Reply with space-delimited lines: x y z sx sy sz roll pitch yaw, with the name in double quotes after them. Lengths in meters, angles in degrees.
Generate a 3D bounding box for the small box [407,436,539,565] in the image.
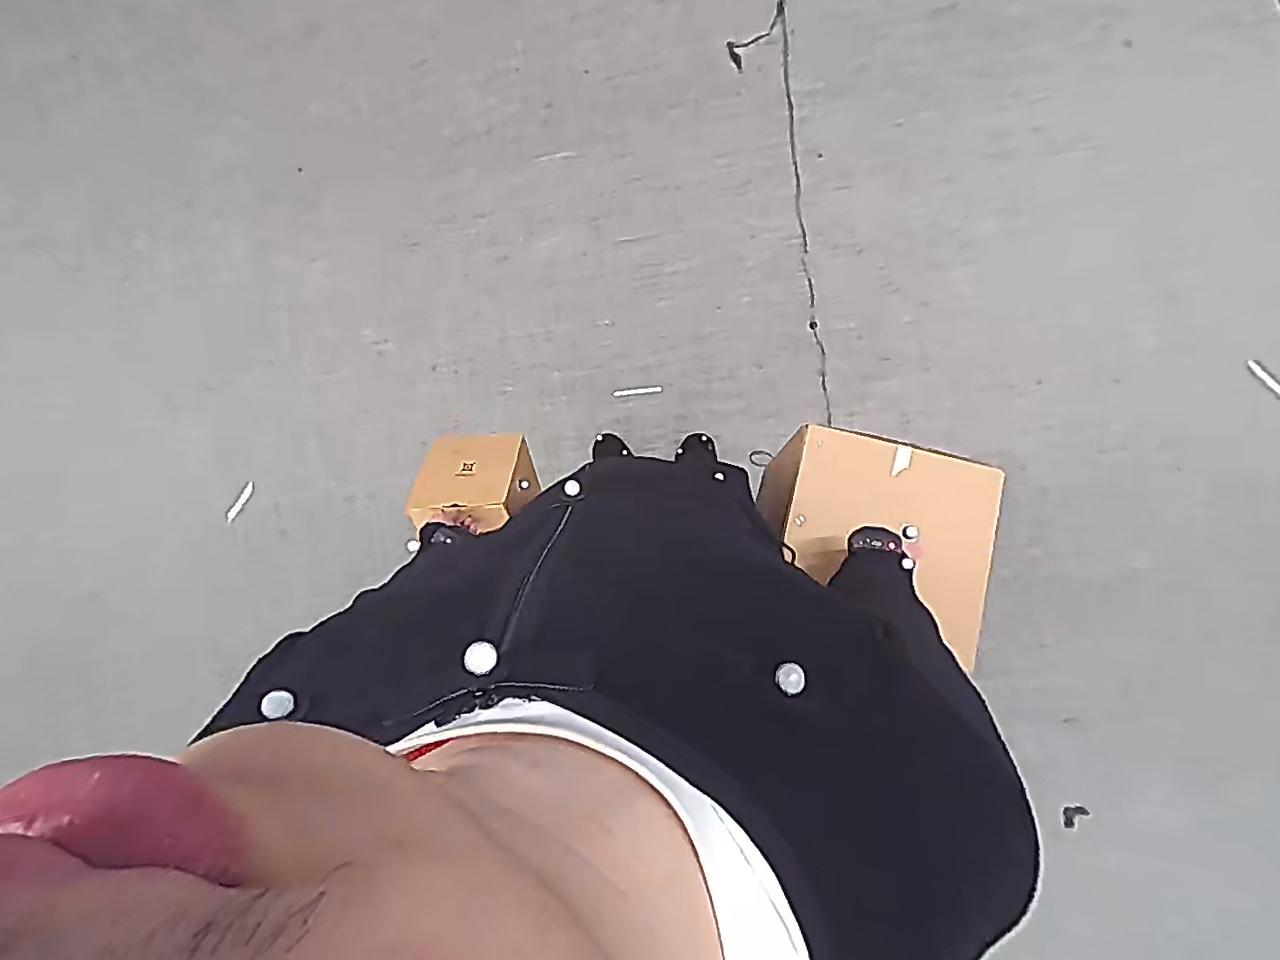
-0.287 0.043 0.980 0.168 0.179 0.176 -2 136 4 "small box"
